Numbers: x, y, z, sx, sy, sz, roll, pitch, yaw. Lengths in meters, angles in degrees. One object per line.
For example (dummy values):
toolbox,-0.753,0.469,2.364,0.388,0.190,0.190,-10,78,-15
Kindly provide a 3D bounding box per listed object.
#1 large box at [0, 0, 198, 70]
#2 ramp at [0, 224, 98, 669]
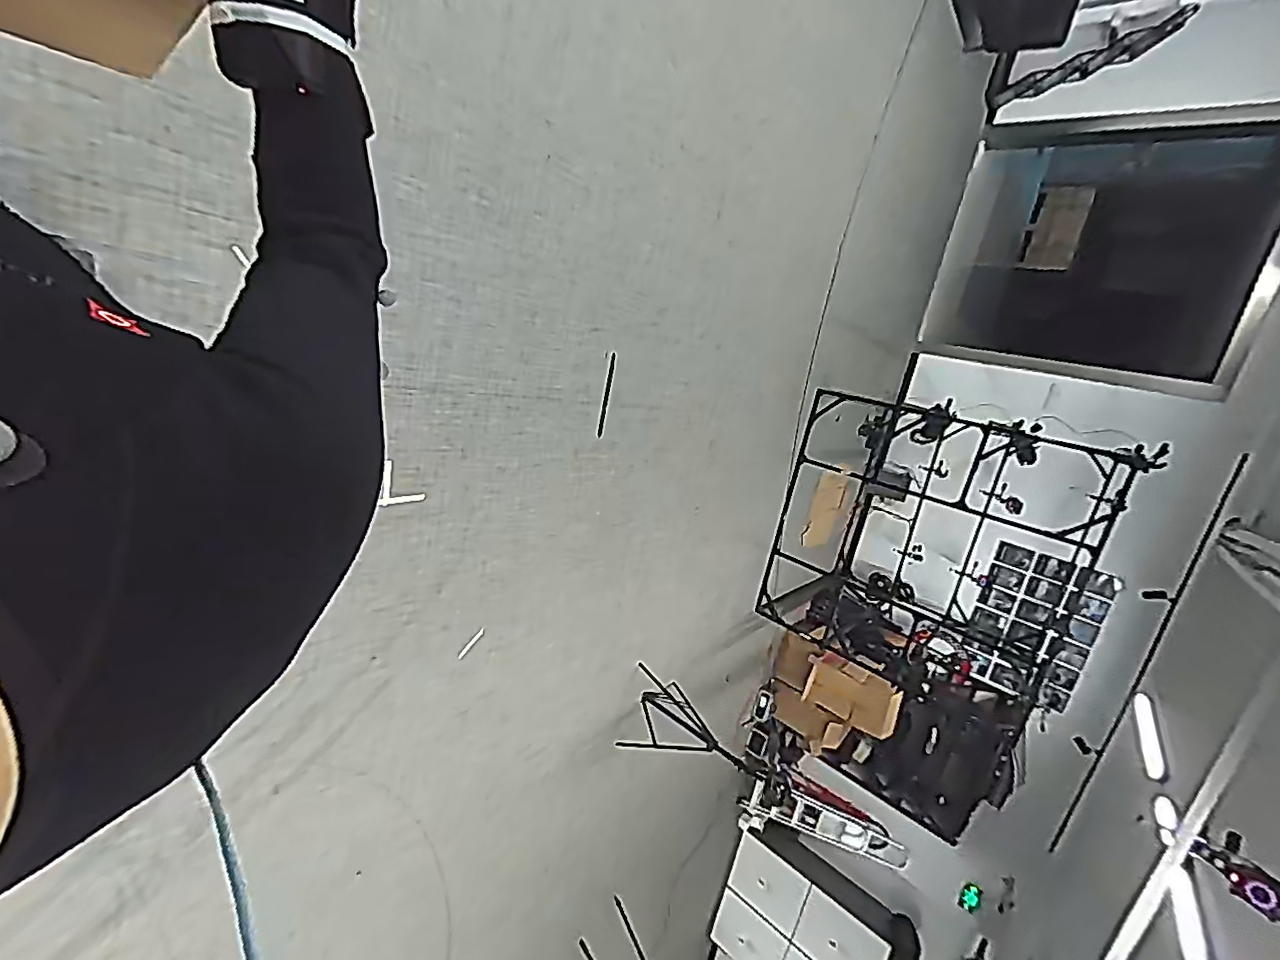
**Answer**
large box,-0.467,-0.477,0.237,0.408,0.320,0.320,-11,109,-50
ramp,-1.355,0.001,1.005,0.509,0.206,0.991,-9,115,-51
